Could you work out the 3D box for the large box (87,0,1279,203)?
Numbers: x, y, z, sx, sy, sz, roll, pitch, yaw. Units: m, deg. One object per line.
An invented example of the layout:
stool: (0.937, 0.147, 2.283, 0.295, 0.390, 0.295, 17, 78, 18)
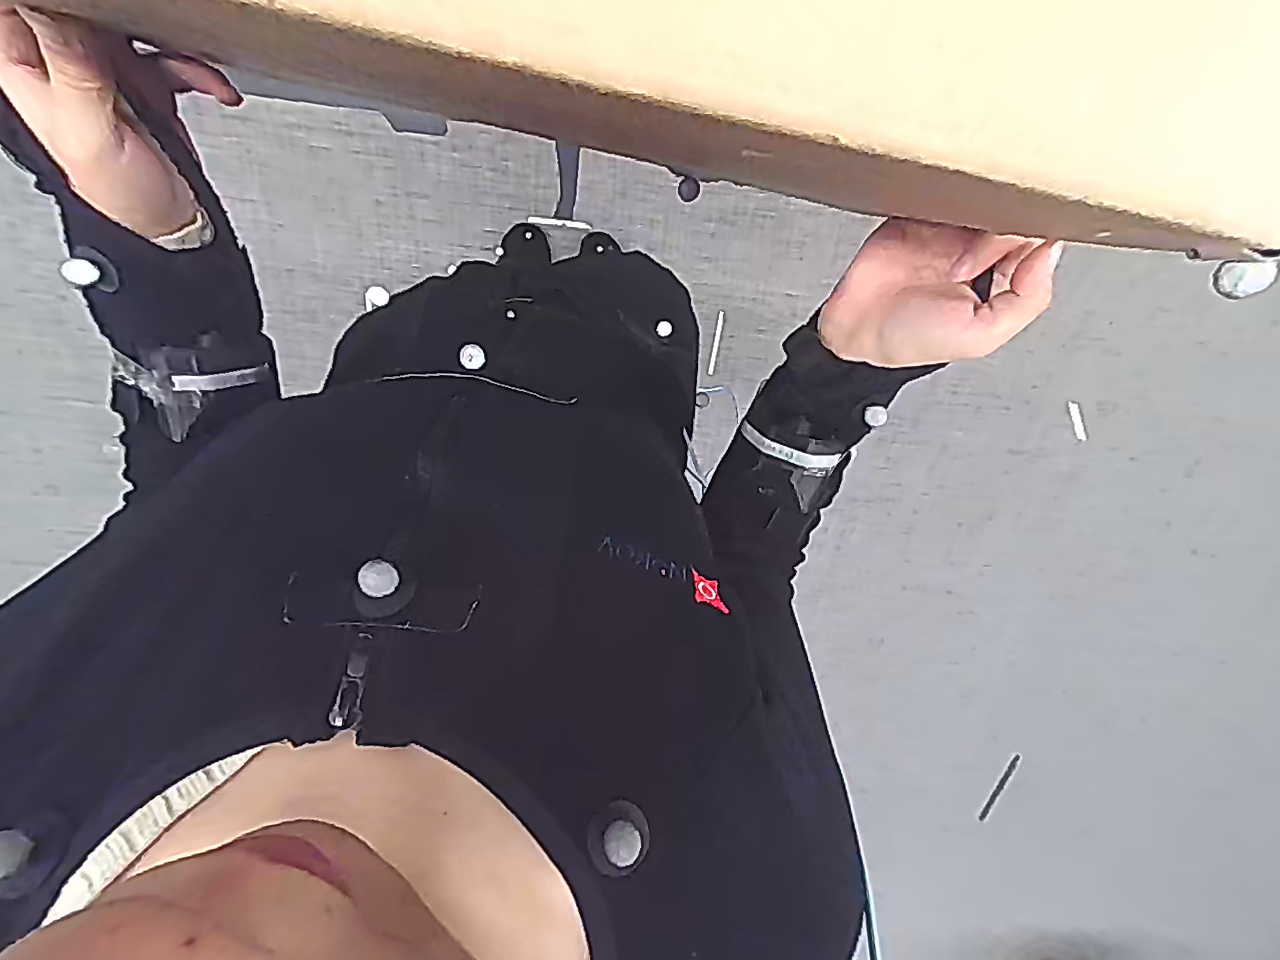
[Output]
large box: (-0.006, -0.301, 0.168, 0.408, 0.320, 0.320, 9, 120, -6)
